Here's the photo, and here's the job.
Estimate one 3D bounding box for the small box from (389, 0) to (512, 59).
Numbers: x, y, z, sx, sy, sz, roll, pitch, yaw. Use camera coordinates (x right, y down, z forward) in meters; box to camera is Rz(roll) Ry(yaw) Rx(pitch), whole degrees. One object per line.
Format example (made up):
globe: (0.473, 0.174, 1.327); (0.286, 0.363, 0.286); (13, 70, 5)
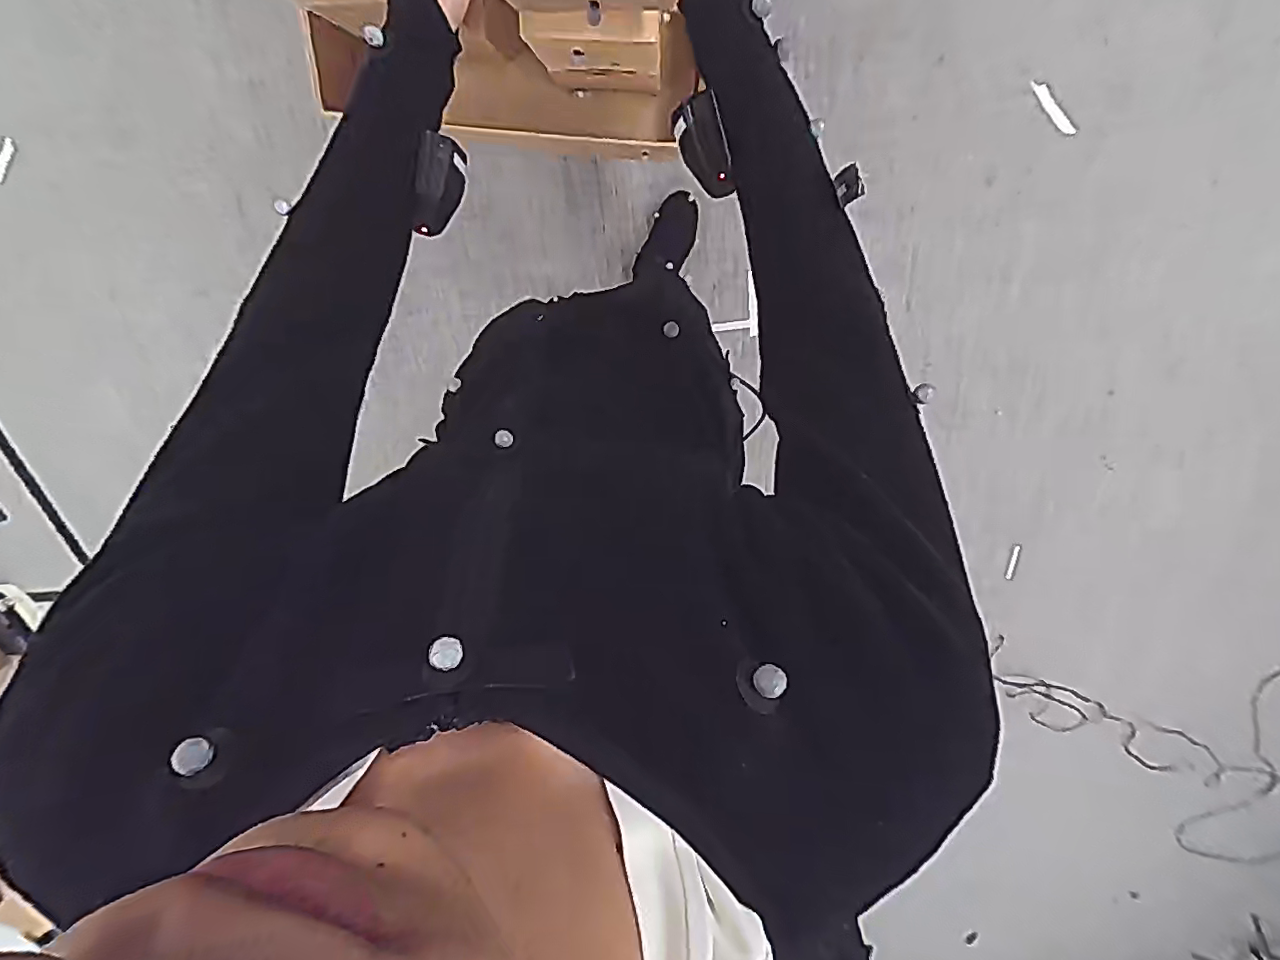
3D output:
small box: (-0.303, -0.748, 0.806); (0.179, 0.176, 0.168); (2, 118, 1)

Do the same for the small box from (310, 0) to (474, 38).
small box: (-0.318, -0.674, 0.660); (0.168, 0.176, 0.179); (1, 117, 4)

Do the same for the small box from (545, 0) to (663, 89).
small box: (-0.050, -0.710, 0.816); (0.168, 0.176, 0.179); (2, 117, 1)

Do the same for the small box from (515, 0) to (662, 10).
small box: (-0.050, -0.539, 0.475); (0.179, 0.176, 0.168); (2, 121, 4)

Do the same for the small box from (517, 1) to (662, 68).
small box: (-0.055, -0.636, 0.671); (0.168, 0.176, 0.179); (3, 117, 1)
